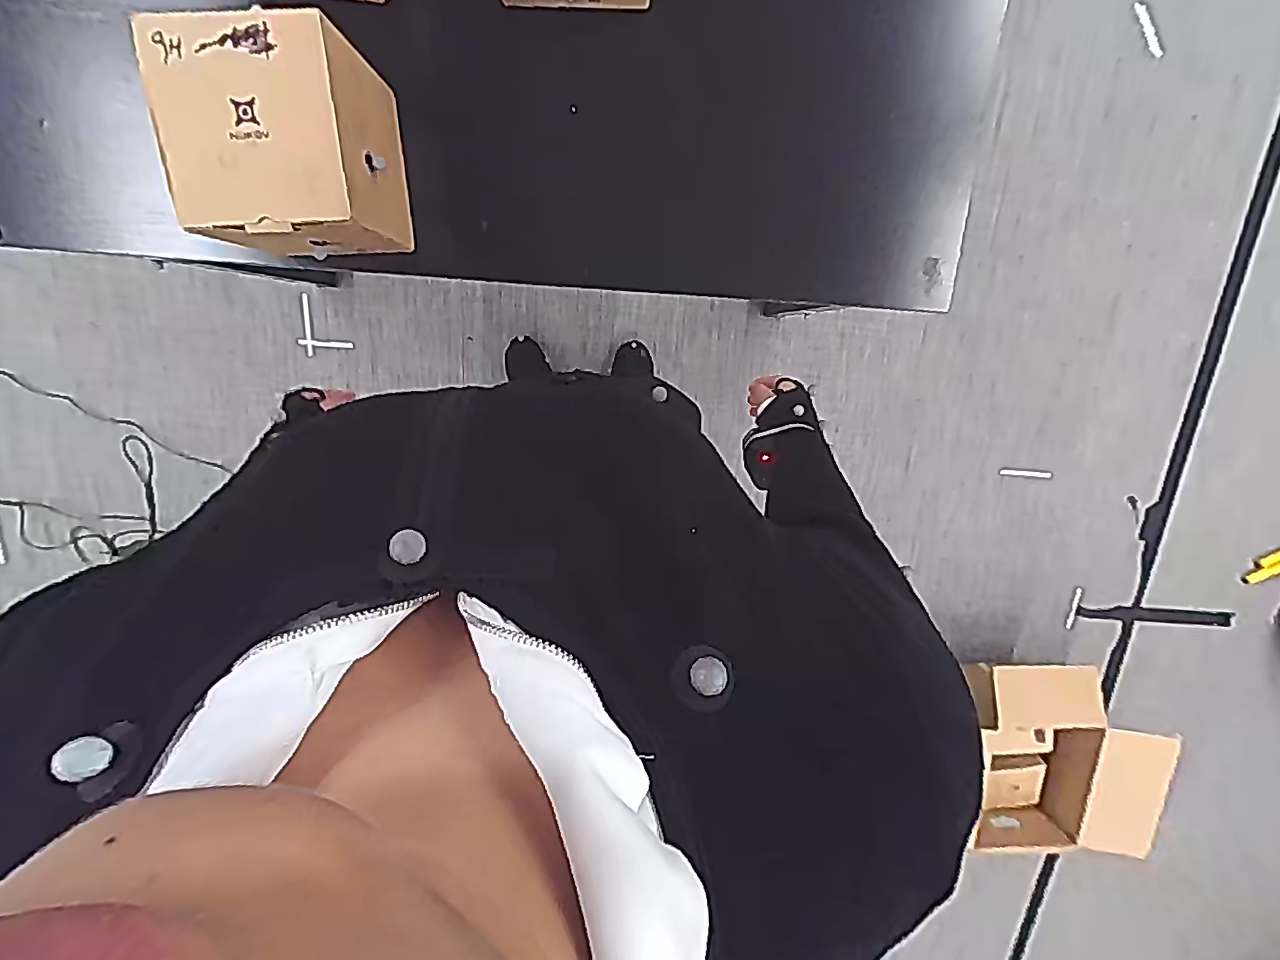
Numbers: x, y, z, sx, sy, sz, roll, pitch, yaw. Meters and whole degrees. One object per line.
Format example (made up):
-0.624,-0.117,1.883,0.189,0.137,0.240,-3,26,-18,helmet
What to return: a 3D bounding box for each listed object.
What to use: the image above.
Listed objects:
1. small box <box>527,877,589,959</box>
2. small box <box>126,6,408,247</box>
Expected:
-0.261,1.425,1.743,0.179,0.176,0.168,5,102,-2,small box
-0.364,-0.348,0.569,0.168,0.176,0.179,-3,105,-2,small box
